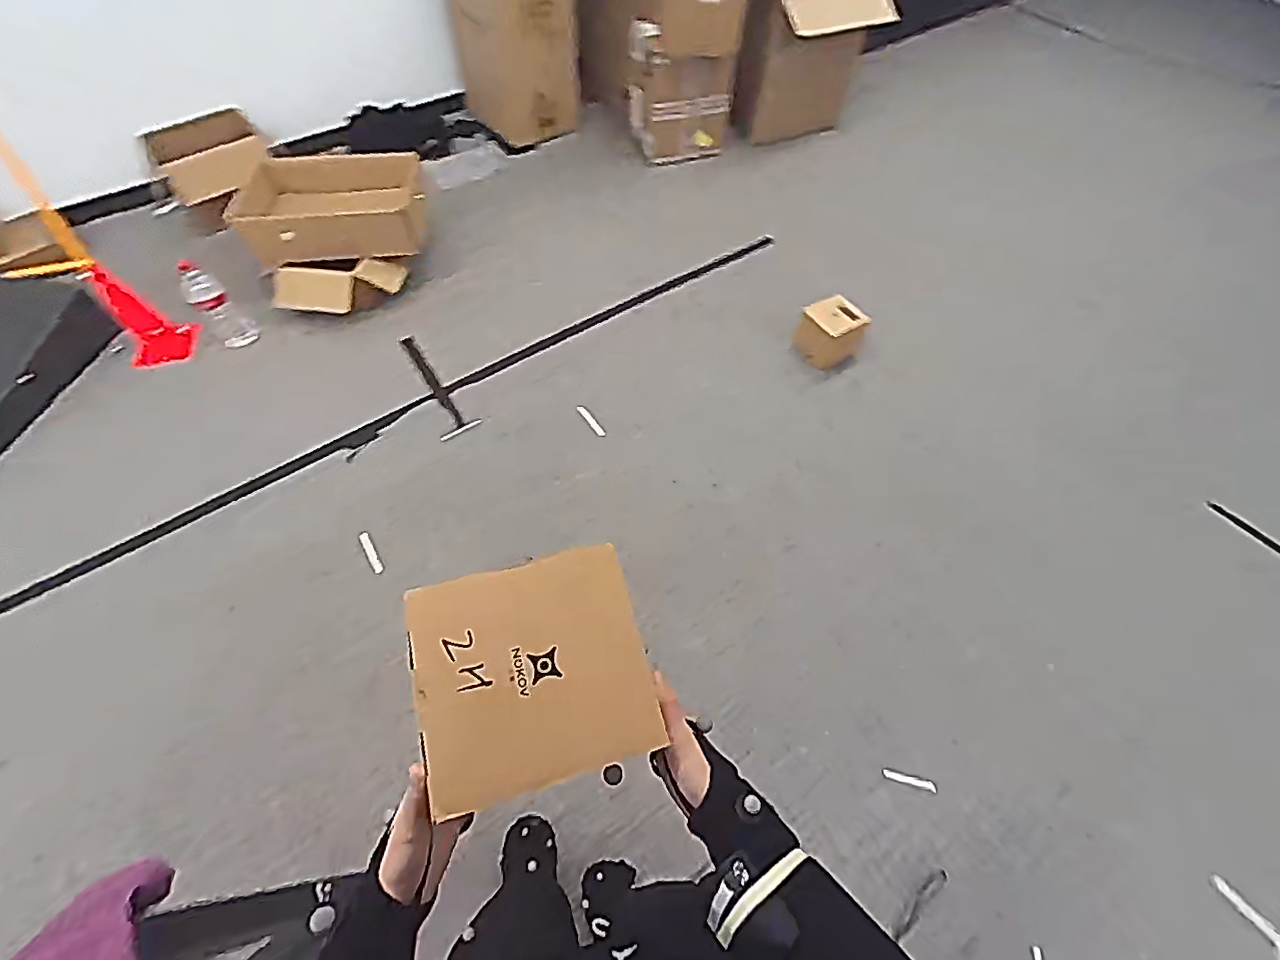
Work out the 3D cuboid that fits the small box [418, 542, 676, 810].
[{"bbox_3d":[-0.084,0.170,0.491,0.179,0.176,0.168,-11,69,-11],"label":"small box"}]
